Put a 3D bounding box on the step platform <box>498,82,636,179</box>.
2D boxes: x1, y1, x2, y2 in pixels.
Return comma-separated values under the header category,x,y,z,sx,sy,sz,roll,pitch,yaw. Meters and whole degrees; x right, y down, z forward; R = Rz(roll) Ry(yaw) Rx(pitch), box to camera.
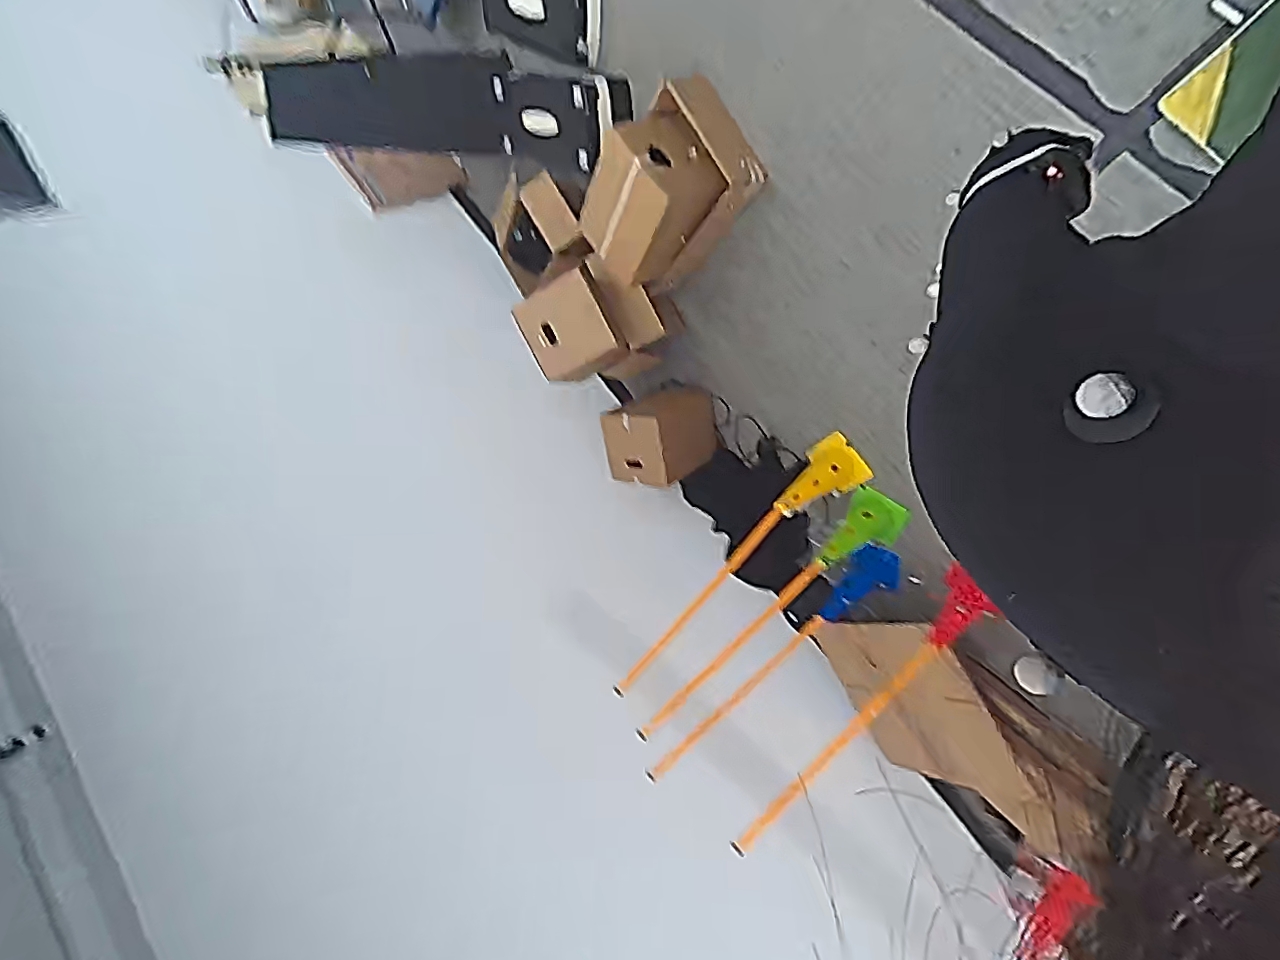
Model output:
category,x,y,z,sx,sy,sz,roll,pitch,yaw
step platform,-0.314,-1.417,2.179,0.684,0.204,0.286,34,141,36
